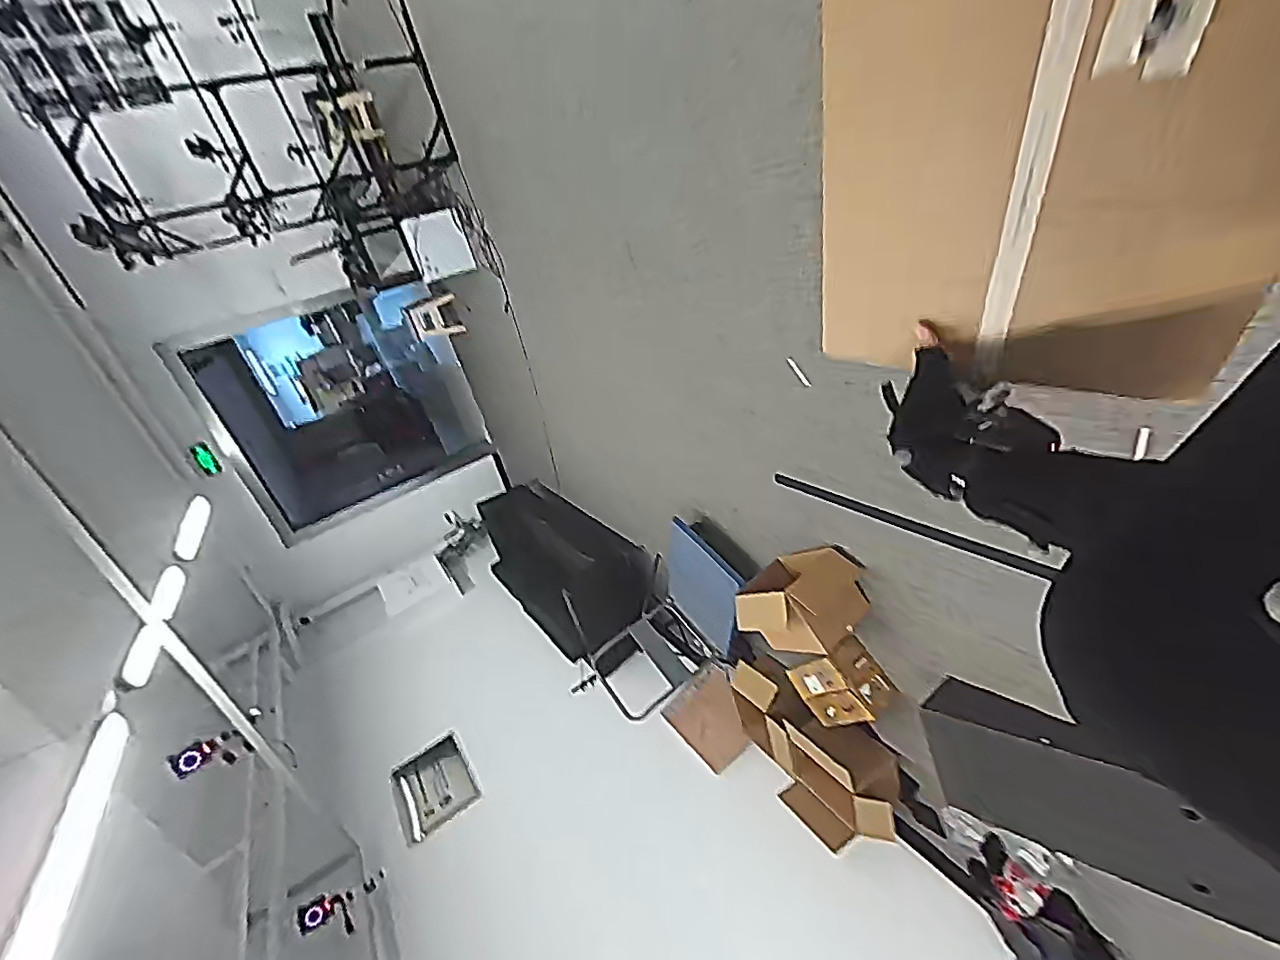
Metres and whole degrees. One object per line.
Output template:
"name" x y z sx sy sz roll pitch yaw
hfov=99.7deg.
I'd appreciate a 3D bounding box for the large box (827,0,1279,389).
"large box" 0.373 -0.346 0.468 0.320 0.320 0.408 16 143 33
